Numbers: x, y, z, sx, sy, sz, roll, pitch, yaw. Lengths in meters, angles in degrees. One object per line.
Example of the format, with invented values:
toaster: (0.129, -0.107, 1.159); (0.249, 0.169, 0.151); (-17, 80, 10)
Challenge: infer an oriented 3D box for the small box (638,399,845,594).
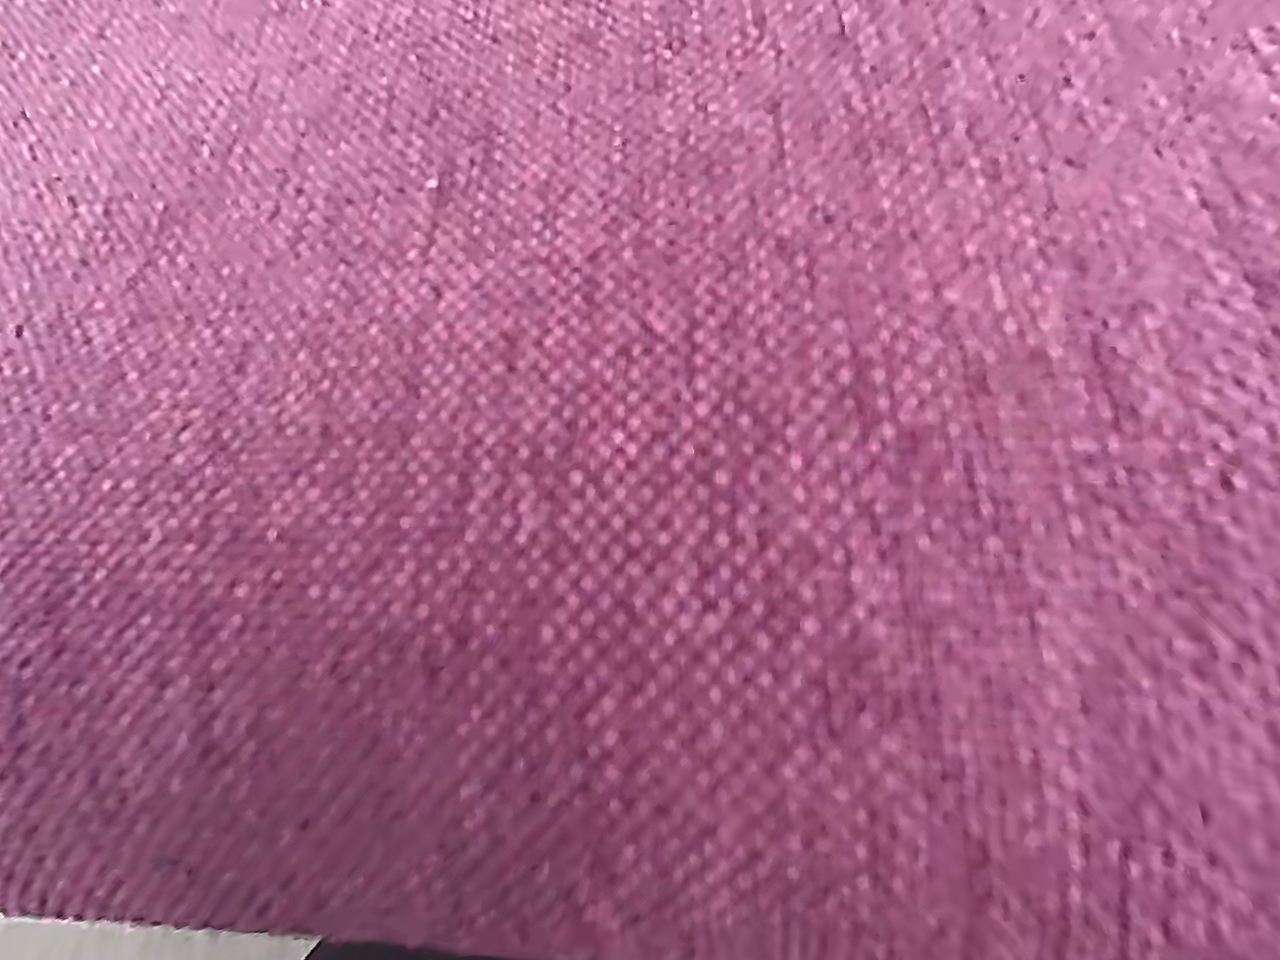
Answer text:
small box: (0.098, 0.029, 0.553); (0.179, 0.176, 0.168); (-2, 76, 9)
